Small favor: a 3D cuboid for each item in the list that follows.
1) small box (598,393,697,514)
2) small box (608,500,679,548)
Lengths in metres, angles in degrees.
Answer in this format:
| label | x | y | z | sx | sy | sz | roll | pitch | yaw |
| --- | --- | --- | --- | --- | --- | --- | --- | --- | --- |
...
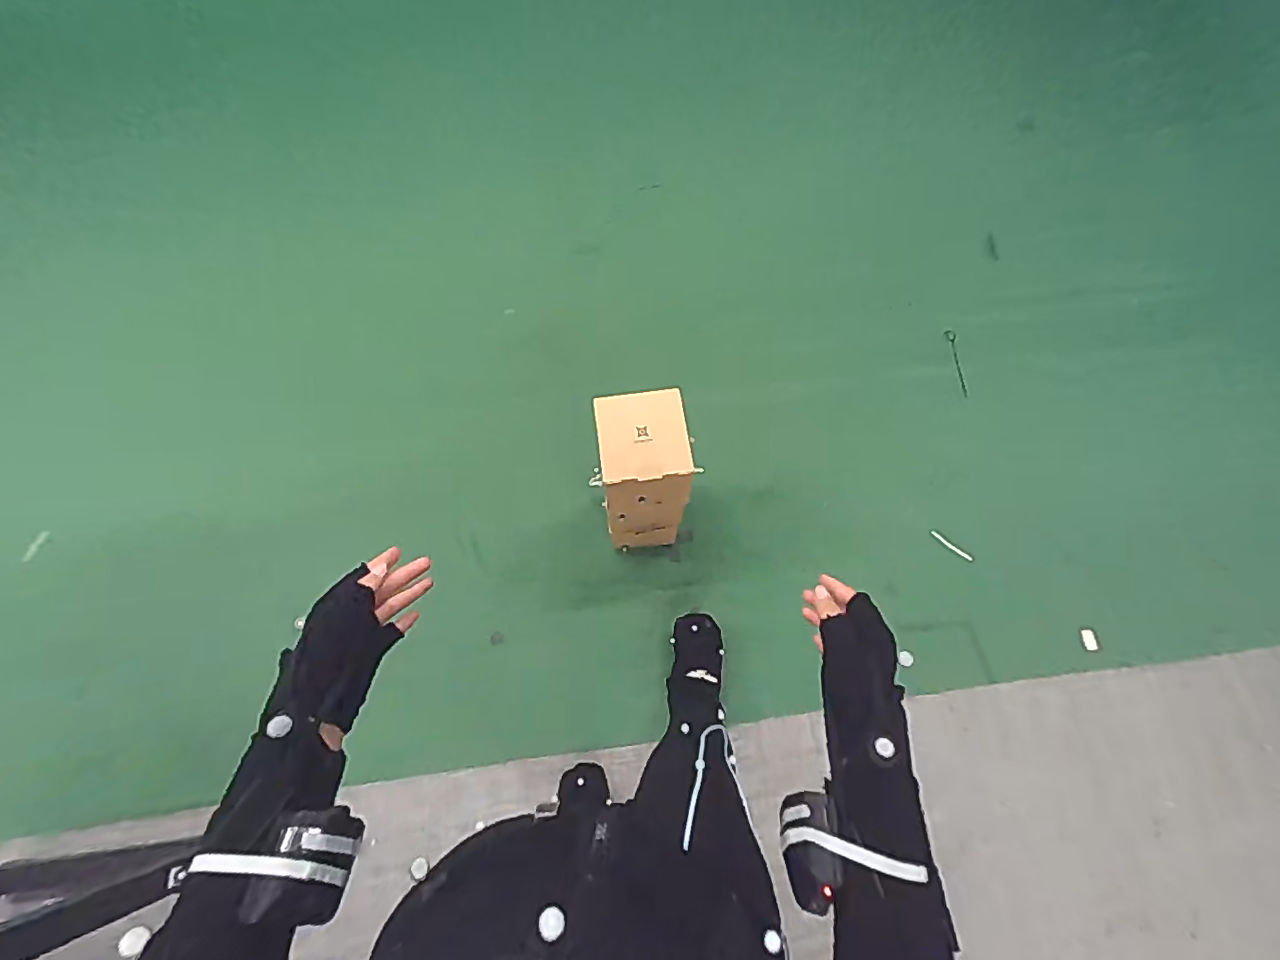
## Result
| label | x | y | z | sx | sy | sz | roll | pitch | yaw |
| --- | --- | --- | --- | --- | --- | --- | --- | --- | --- |
| small box | 0.009 | -0.048 | 1.060 | 0.168 | 0.176 | 0.179 | -8 | 69 | -3 |
| small box | 0.007 | 0.070 | 1.366 | 0.168 | 0.176 | 0.179 | -5 | 69 | -2 |
